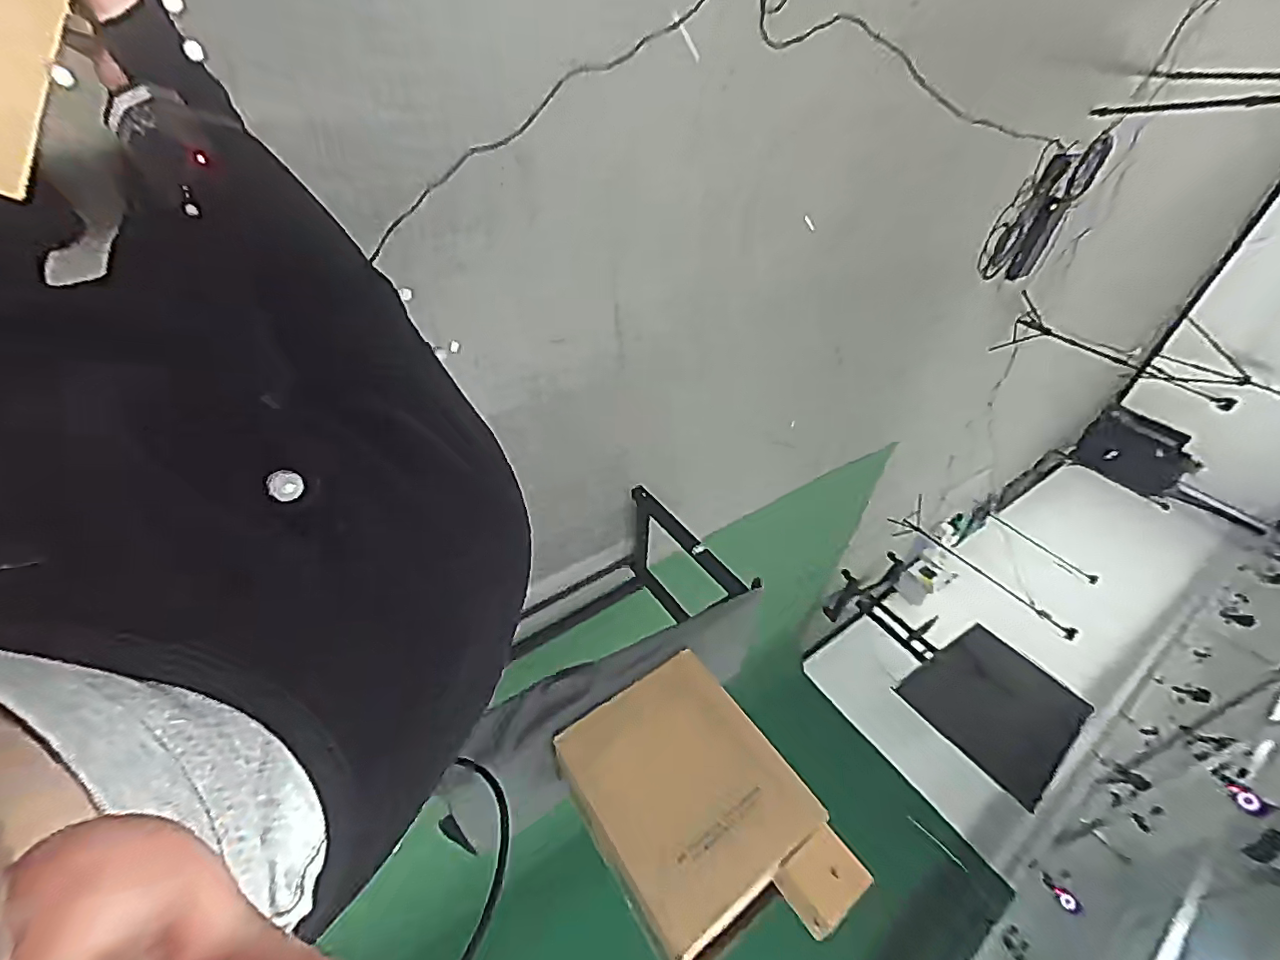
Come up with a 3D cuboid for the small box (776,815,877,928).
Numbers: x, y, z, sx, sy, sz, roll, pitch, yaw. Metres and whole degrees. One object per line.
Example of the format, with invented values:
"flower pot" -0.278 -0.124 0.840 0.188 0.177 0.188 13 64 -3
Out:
"small box" 0.505 1.064 1.480 0.179 0.176 0.168 -27 139 -27
